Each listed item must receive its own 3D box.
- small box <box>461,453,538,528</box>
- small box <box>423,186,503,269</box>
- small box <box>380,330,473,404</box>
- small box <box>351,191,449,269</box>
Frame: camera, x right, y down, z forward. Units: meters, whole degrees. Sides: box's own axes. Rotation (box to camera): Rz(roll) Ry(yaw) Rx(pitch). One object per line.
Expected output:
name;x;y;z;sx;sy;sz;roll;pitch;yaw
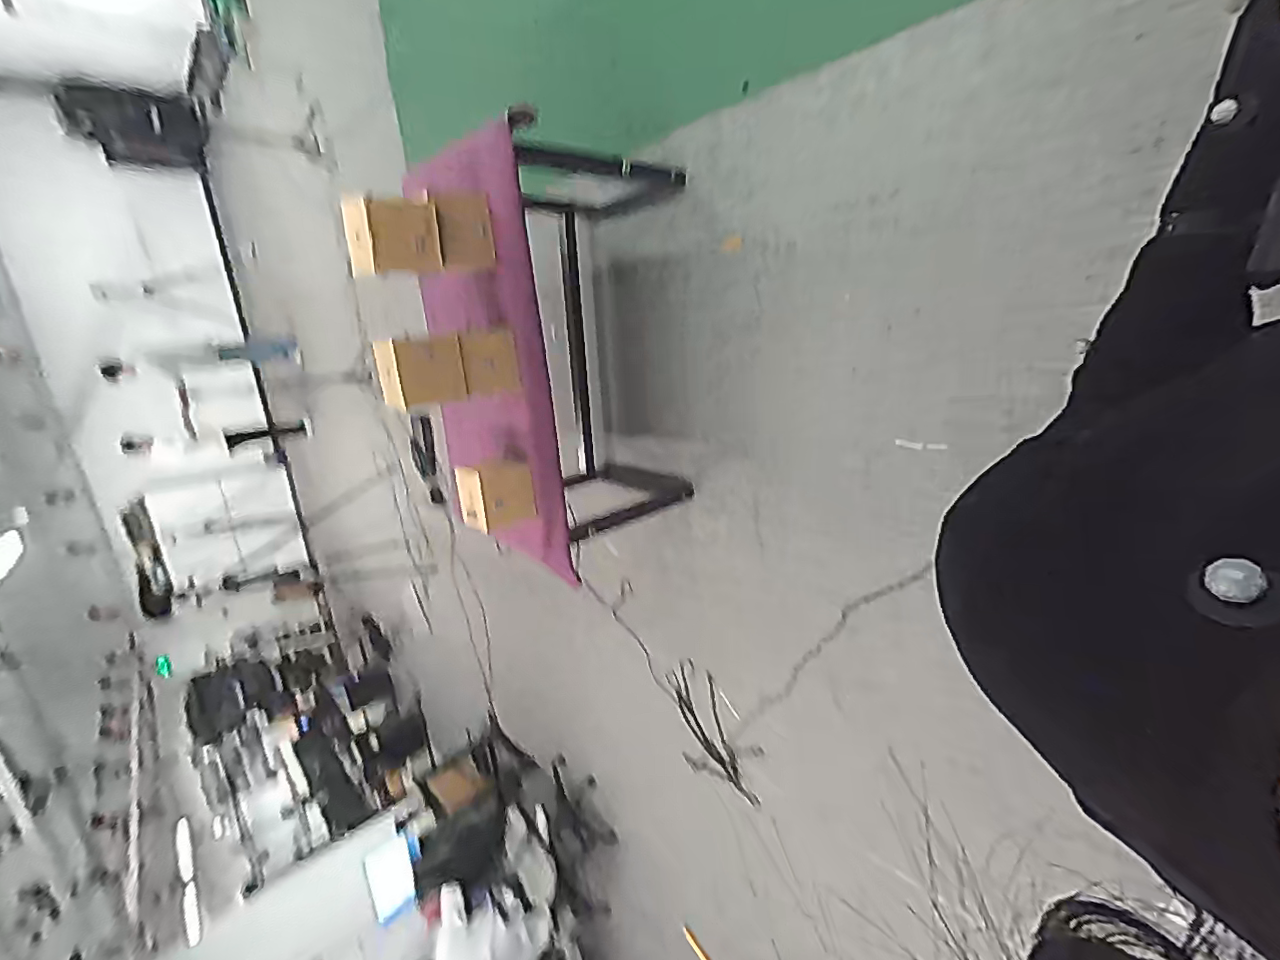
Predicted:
small box;-0.422;0.025;1.641;0.168;0.176;0.179;13;112;48
small box;-0.490;-0.676;1.468;0.168;0.176;0.179;14;114;48
small box;-0.561;-0.303;1.426;0.168;0.176;0.179;15;116;48
small box;-0.598;-0.621;1.356;0.179;0.176;0.168;23;121;43
